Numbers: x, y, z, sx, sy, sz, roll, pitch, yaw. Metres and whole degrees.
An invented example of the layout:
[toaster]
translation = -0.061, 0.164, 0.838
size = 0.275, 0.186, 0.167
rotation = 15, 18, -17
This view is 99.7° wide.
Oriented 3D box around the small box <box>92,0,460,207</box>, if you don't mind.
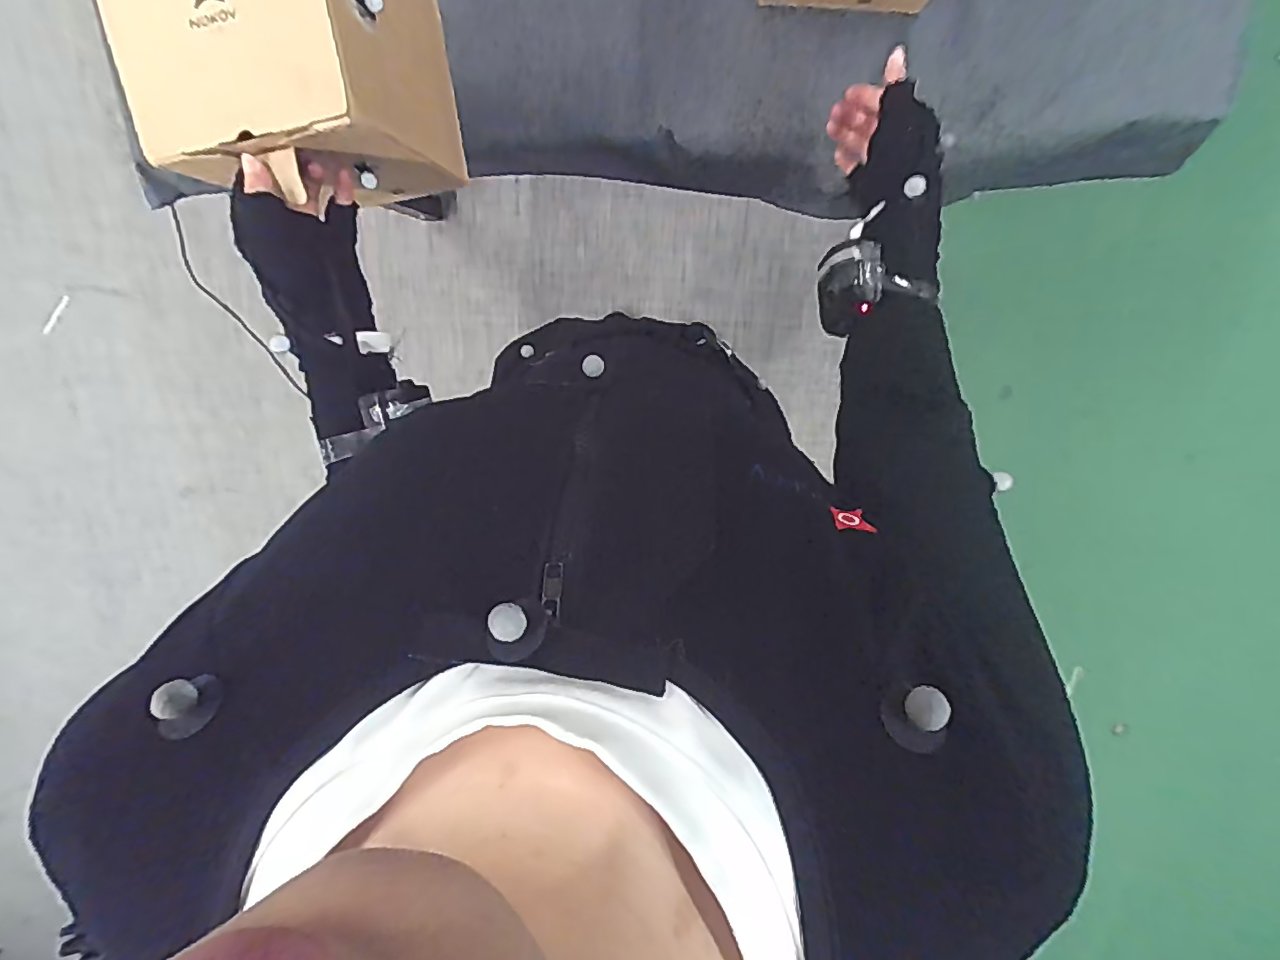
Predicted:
[small box]
translation = -0.261, -0.326, 0.416
size = 0.168, 0.176, 0.179
rotation = -5, 103, 11
